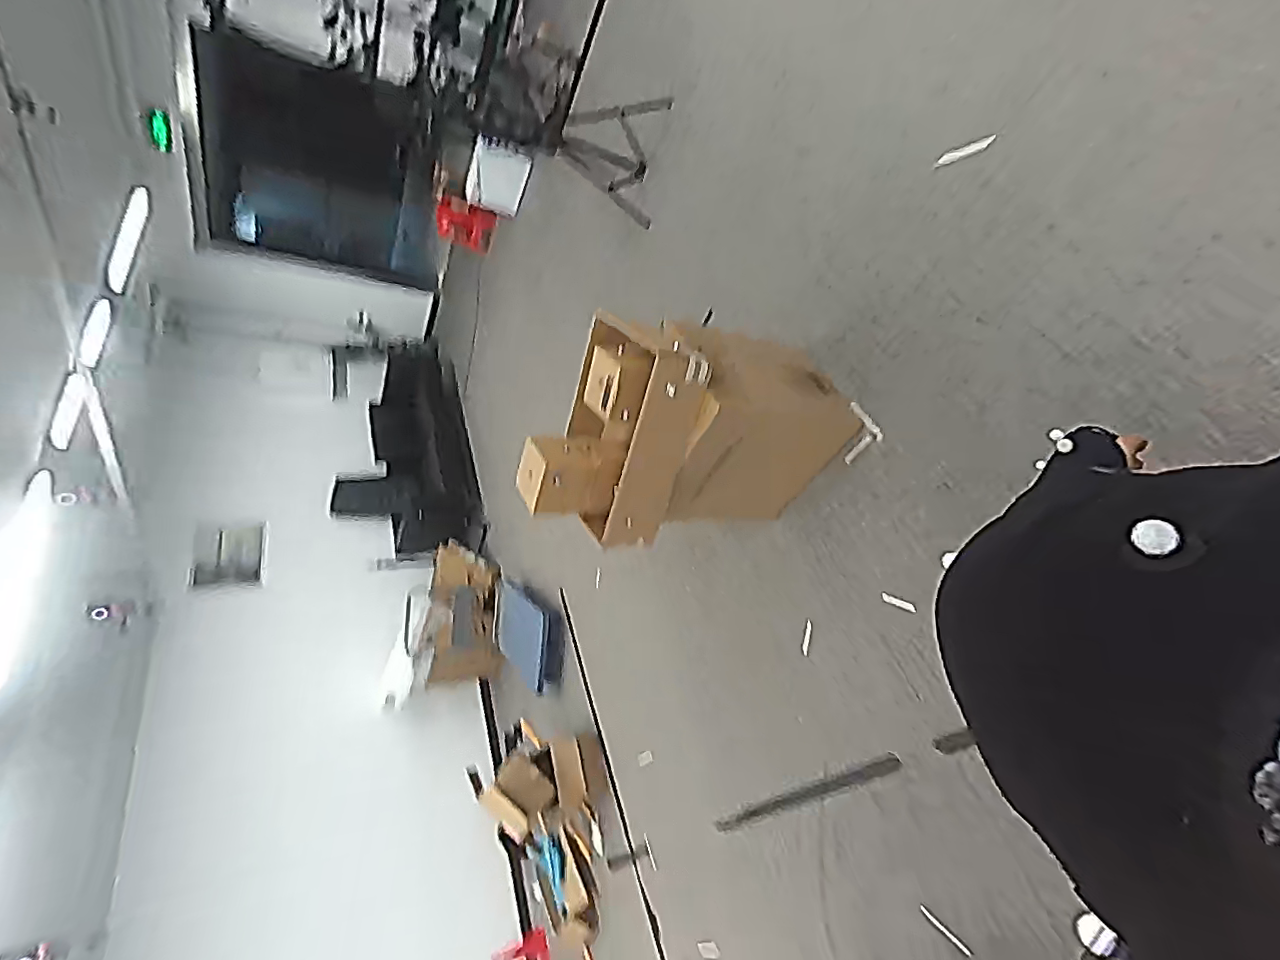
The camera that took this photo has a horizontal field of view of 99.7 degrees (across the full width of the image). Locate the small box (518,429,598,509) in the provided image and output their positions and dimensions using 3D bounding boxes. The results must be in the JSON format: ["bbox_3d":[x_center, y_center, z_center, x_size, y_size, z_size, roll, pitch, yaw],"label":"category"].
[{"bbox_3d":[-0.241,-0.033,1.597,0.168,0.176,0.179,52,131,44],"label":"small box"}]
